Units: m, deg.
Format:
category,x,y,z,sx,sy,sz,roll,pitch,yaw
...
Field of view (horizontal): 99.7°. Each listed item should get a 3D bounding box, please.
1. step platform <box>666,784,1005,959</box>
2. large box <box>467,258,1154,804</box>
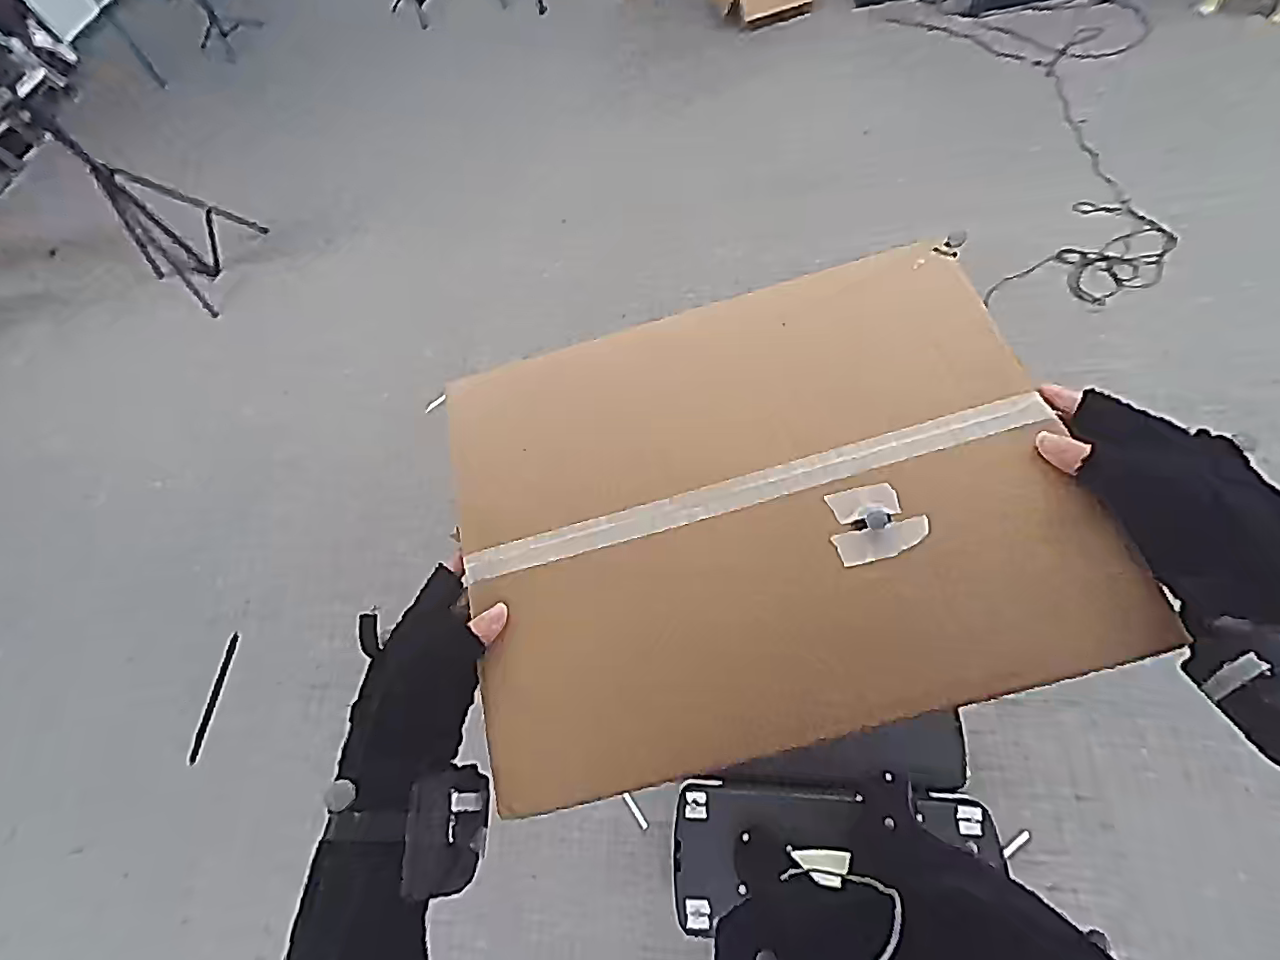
category,x,y,z,sx,sy,sz,roll,pitch,yaw
step platform,0.398,0.848,1.198,0.684,0.204,0.286,-5,62,12
large box,0.101,0.066,0.521,0.408,0.320,0.320,-16,68,3
